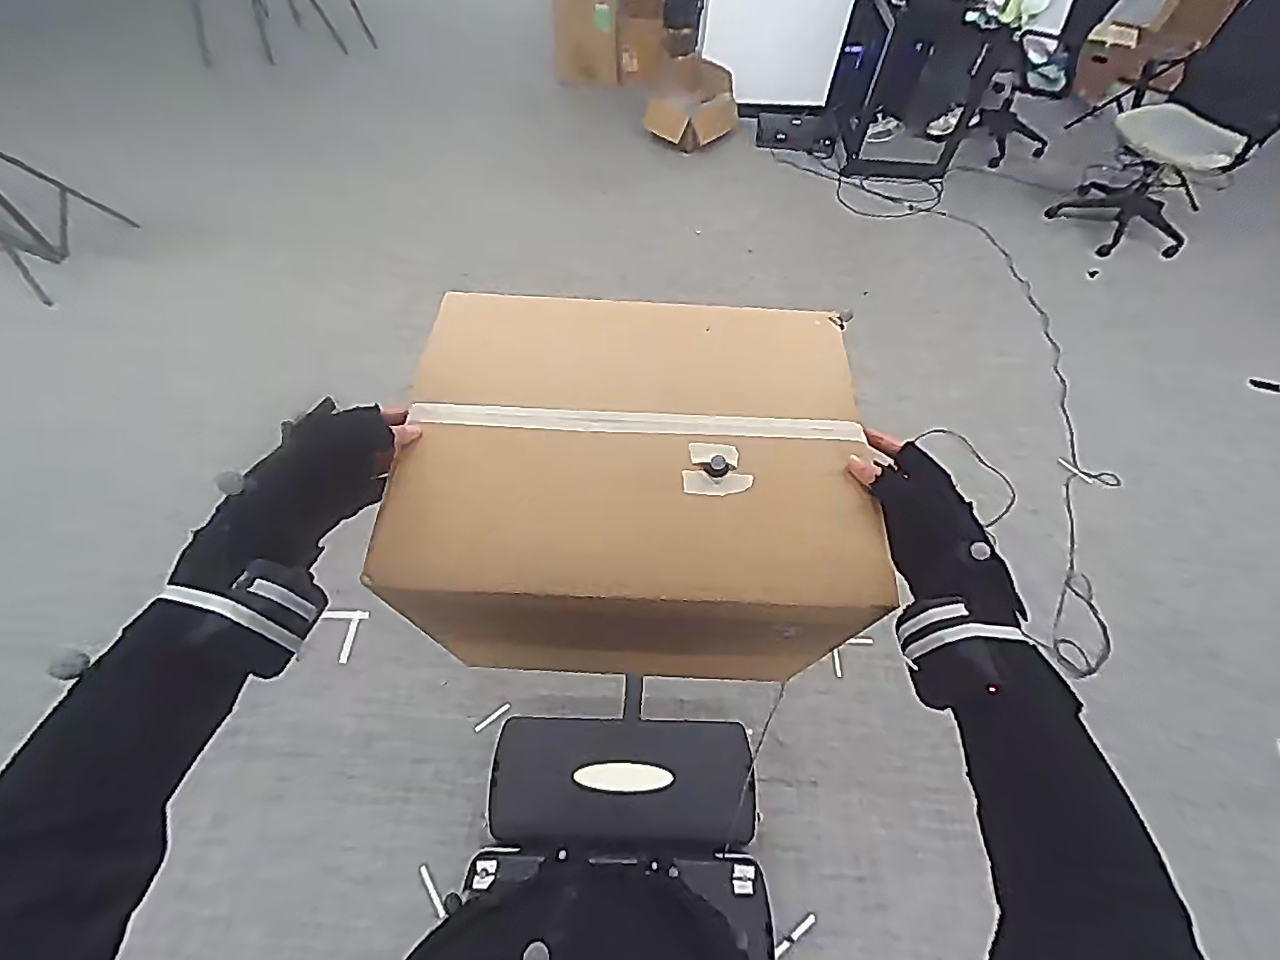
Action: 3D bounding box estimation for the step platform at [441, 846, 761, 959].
[{"bbox_3d":[-0.081,0.990,1.201,0.684,0.204,0.286,1,57,0],"label":"step platform"}]

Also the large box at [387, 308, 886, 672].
[{"bbox_3d":[-0.006,0.032,0.624,0.408,0.320,0.320,3,61,-2],"label":"large box"}]
